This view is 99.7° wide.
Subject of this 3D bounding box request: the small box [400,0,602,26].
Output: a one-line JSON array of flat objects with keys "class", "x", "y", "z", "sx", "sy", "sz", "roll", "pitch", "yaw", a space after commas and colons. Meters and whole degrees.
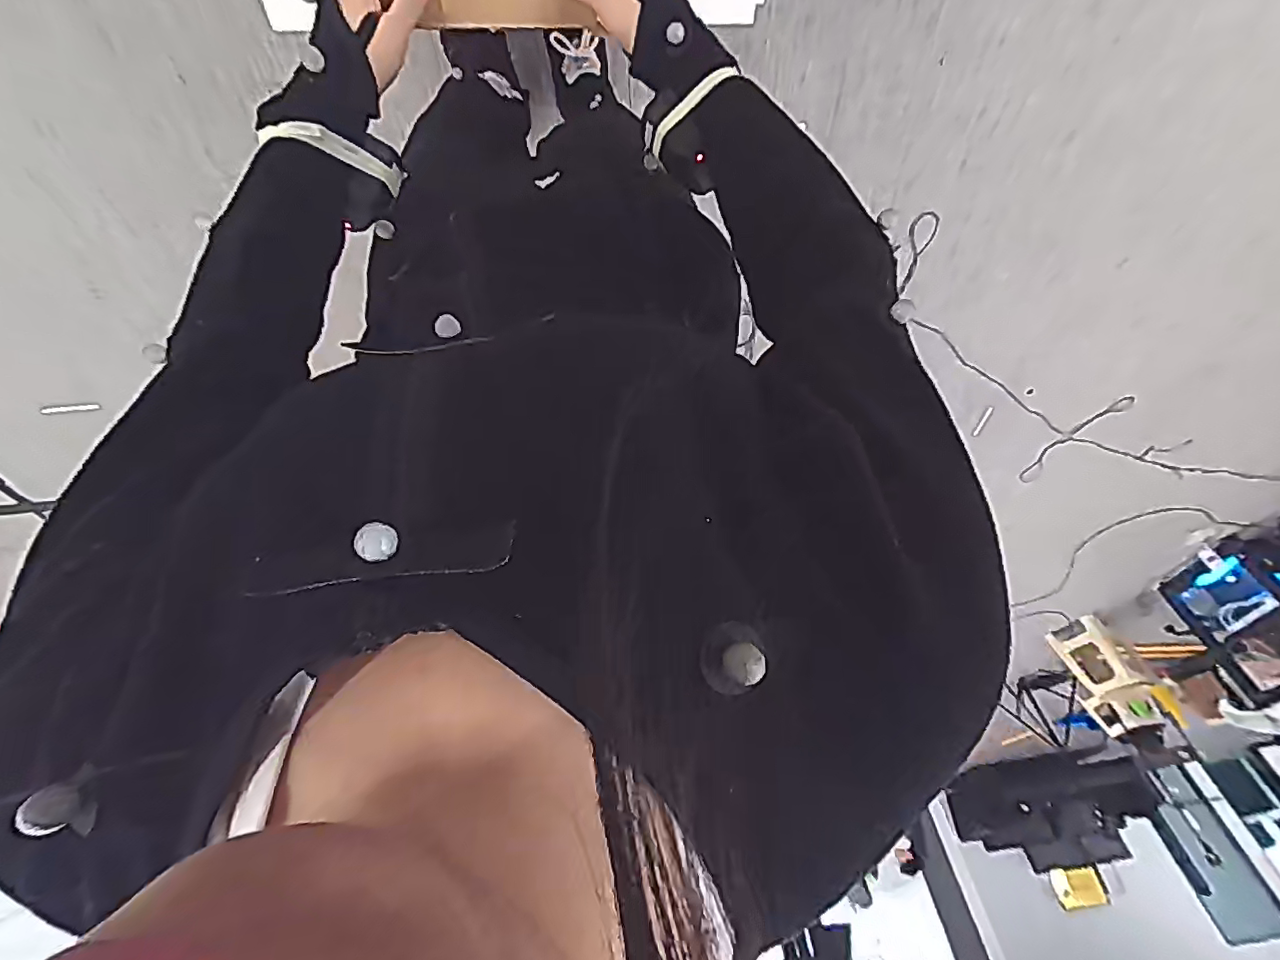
[{"class": "small box", "x": -0.120, "y": -0.498, "z": 0.442, "sx": 0.168, "sy": 0.176, "sz": 0.179, "roll": -4, "pitch": 139, "yaw": -3}]
